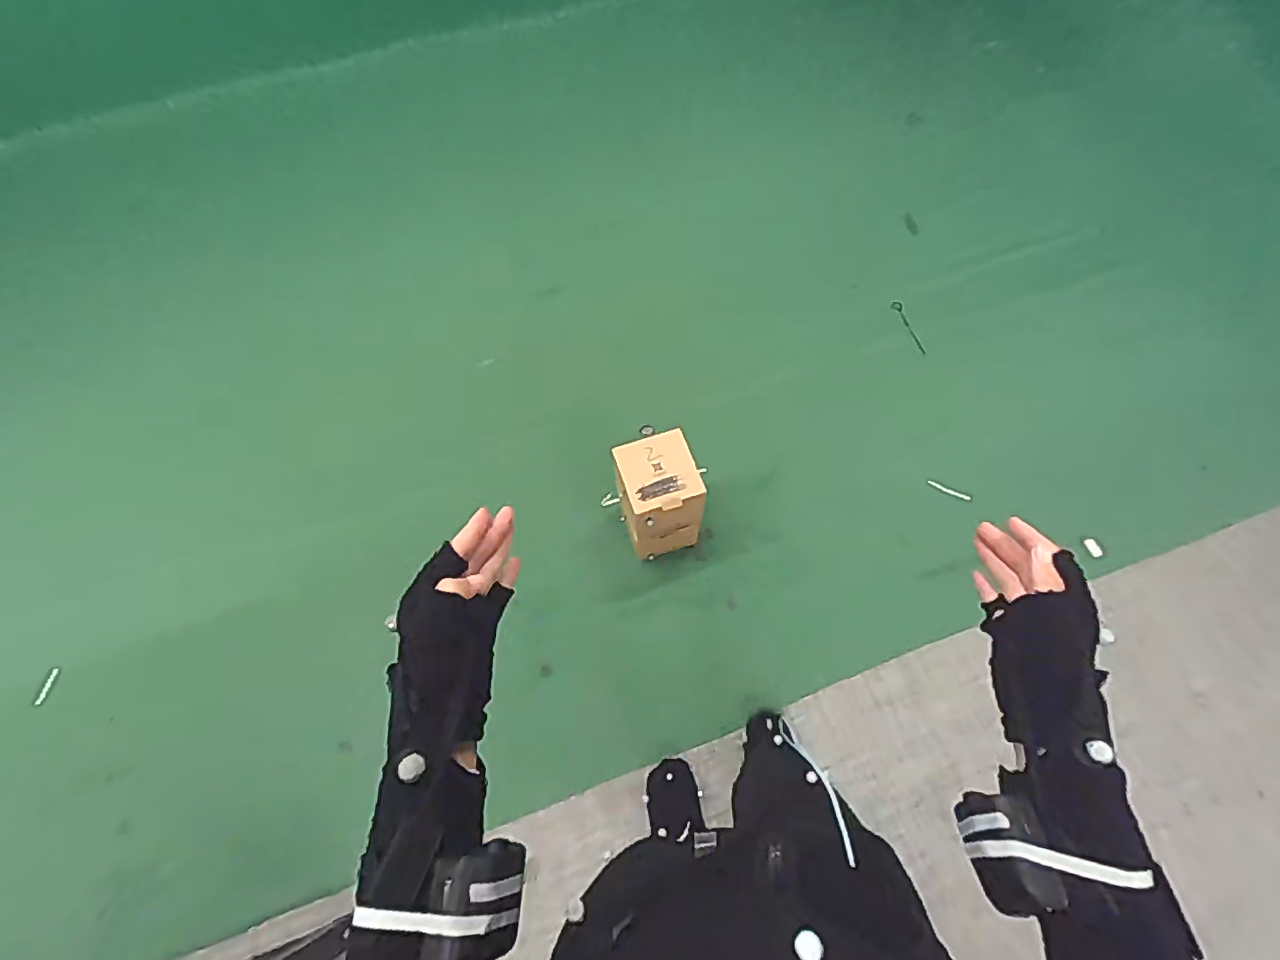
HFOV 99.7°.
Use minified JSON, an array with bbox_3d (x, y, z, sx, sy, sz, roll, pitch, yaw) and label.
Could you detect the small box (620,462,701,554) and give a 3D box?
[{"bbox_3d":[0.053,0.082,1.415,0.168,0.176,0.179,-17,66,-6],"label":"small box"}]
